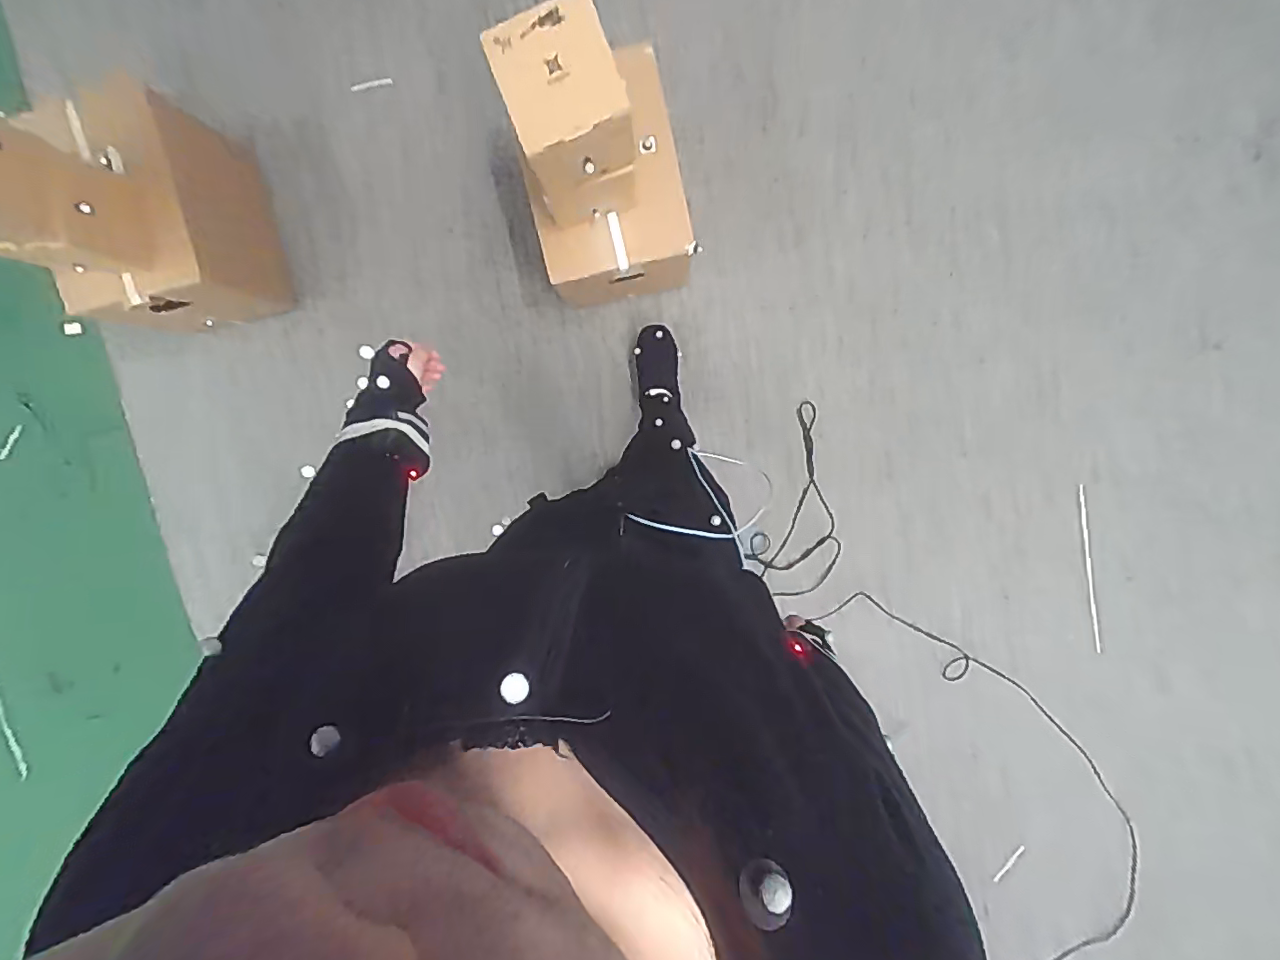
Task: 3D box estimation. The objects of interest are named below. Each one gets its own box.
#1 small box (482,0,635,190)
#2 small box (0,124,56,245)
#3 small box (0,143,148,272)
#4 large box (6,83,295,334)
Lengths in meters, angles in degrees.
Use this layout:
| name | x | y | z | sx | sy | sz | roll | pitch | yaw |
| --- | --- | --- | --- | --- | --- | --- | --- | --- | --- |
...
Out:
| name | x | y | z | sx | sy | sz | roll | pitch | yaw |
| --- | --- | --- | --- | --- | --- | --- | --- | --- | --- |
| small box | -0.112 | -0.578 | 0.836 | 0.168 | 0.176 | 0.179 | -20 | 98 | 5 |
| small box | -1.112 | -0.496 | 0.870 | 0.168 | 0.176 | 0.179 | 2 | 99 | 2 |
| small box | -1.101 | -0.510 | 1.032 | 0.168 | 0.176 | 0.179 | -1 | 98 | 2 |
| large box | -1.100 | -0.594 | 1.265 | 0.320 | 0.320 | 0.408 | -12 | 97 | 3 |
